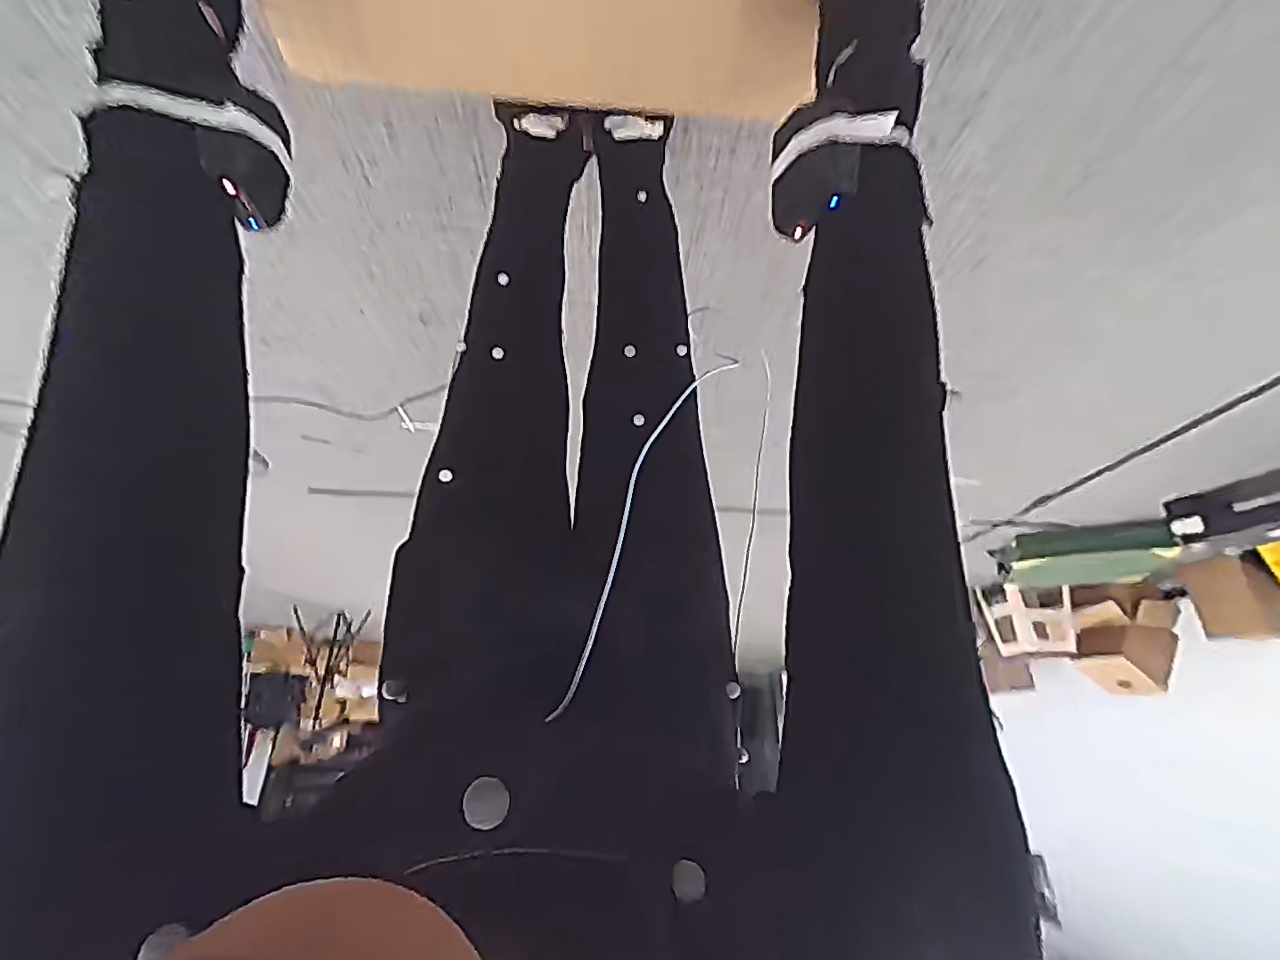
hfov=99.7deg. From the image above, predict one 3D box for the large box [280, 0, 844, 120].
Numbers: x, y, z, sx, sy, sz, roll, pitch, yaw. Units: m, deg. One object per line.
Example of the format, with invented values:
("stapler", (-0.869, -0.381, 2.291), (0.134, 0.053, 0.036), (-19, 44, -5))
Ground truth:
("large box", (-0.051, -0.508, 0.388), (0.408, 0.320, 0.320), (2, 148, -4))
